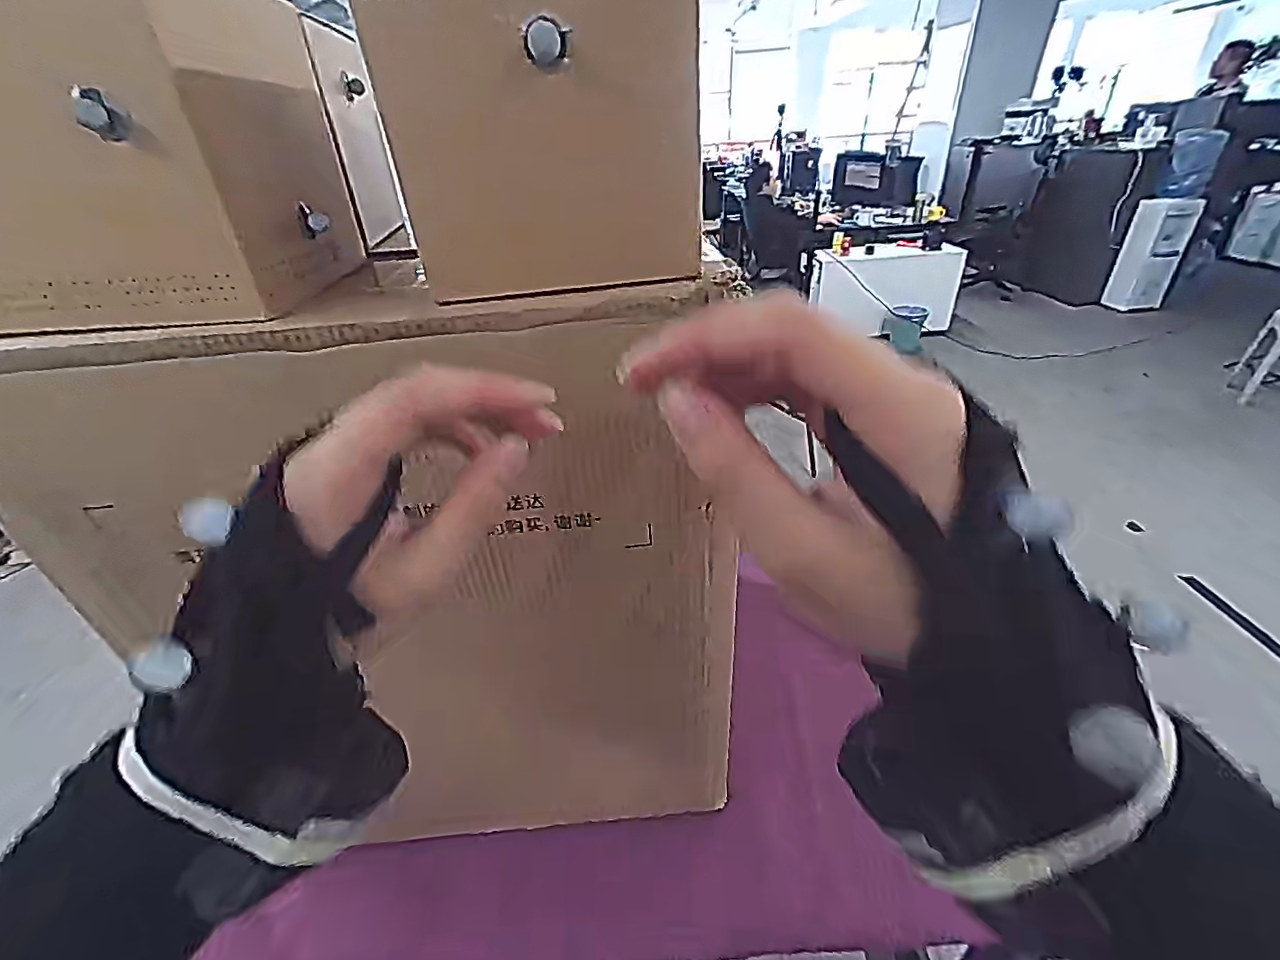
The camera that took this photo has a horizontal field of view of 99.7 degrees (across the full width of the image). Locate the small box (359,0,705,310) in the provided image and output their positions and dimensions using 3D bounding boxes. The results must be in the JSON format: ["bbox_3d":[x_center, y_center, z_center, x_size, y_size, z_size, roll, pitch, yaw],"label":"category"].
[{"bbox_3d":[-0.053,-0.225,0.352,0.168,0.176,0.179,-7,33,-1],"label":"small box"}]
